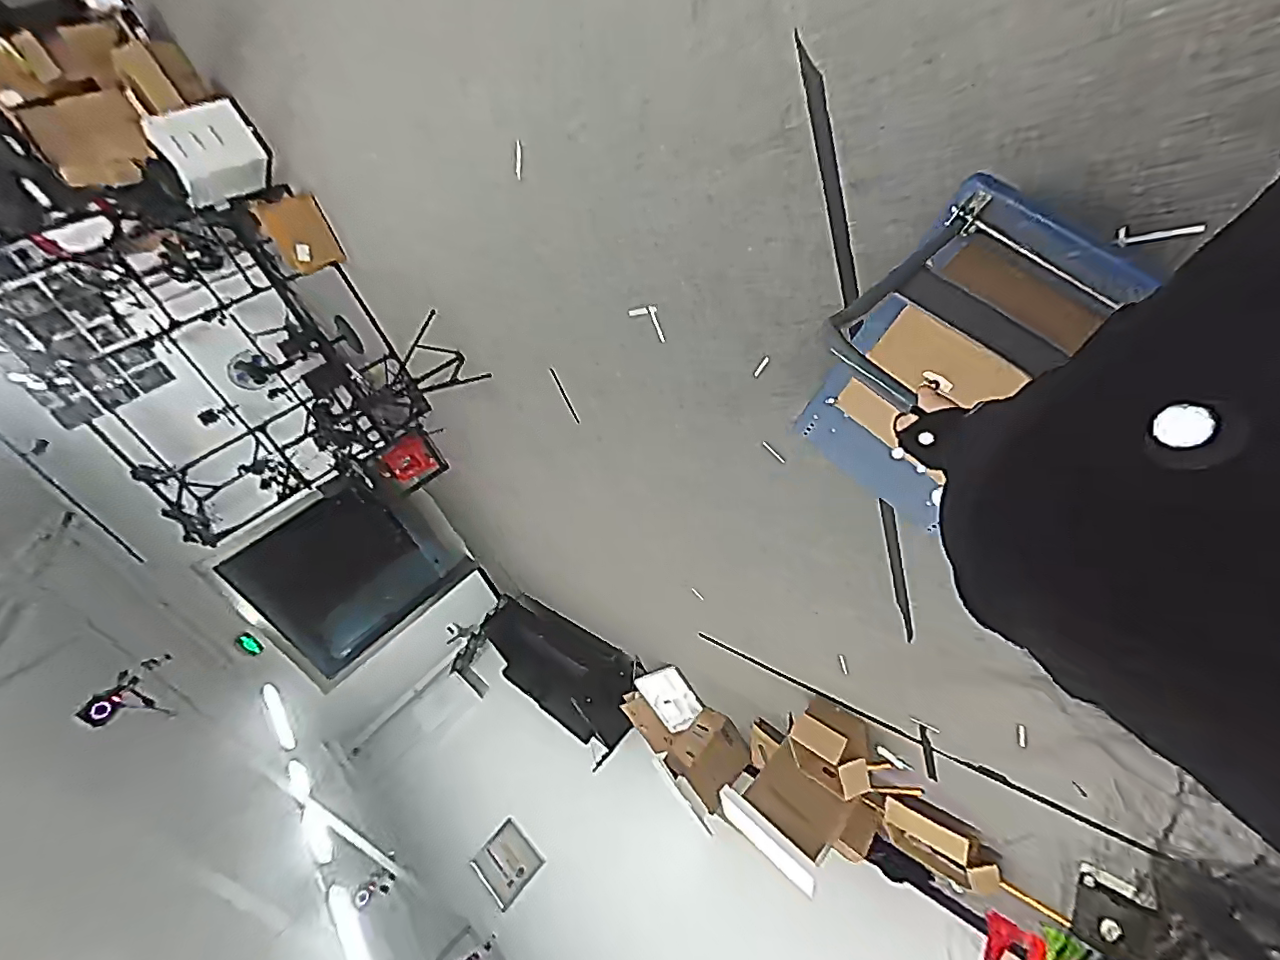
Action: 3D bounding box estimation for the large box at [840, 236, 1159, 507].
[{"bbox_3d":[0.725,-0.226,1.134,0.408,0.320,0.320,42,151,14],"label":"large box"}]
